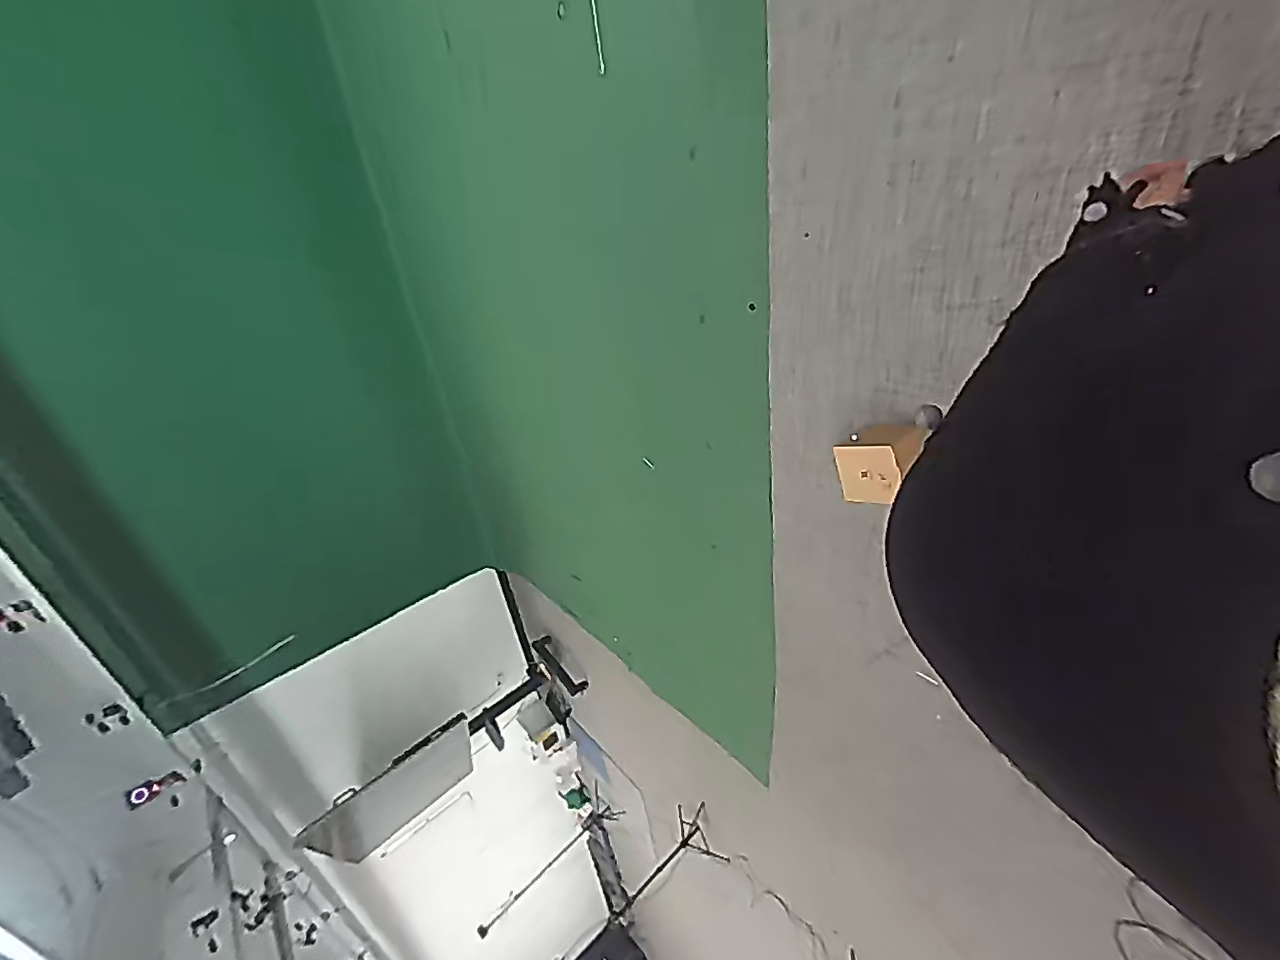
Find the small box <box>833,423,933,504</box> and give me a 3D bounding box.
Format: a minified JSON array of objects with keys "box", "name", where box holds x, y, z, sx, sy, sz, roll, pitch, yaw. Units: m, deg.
[{"box":[0.660,-0.048,1.470,0.179,0.176,0.168,3,116,55],"name":"small box"}]
